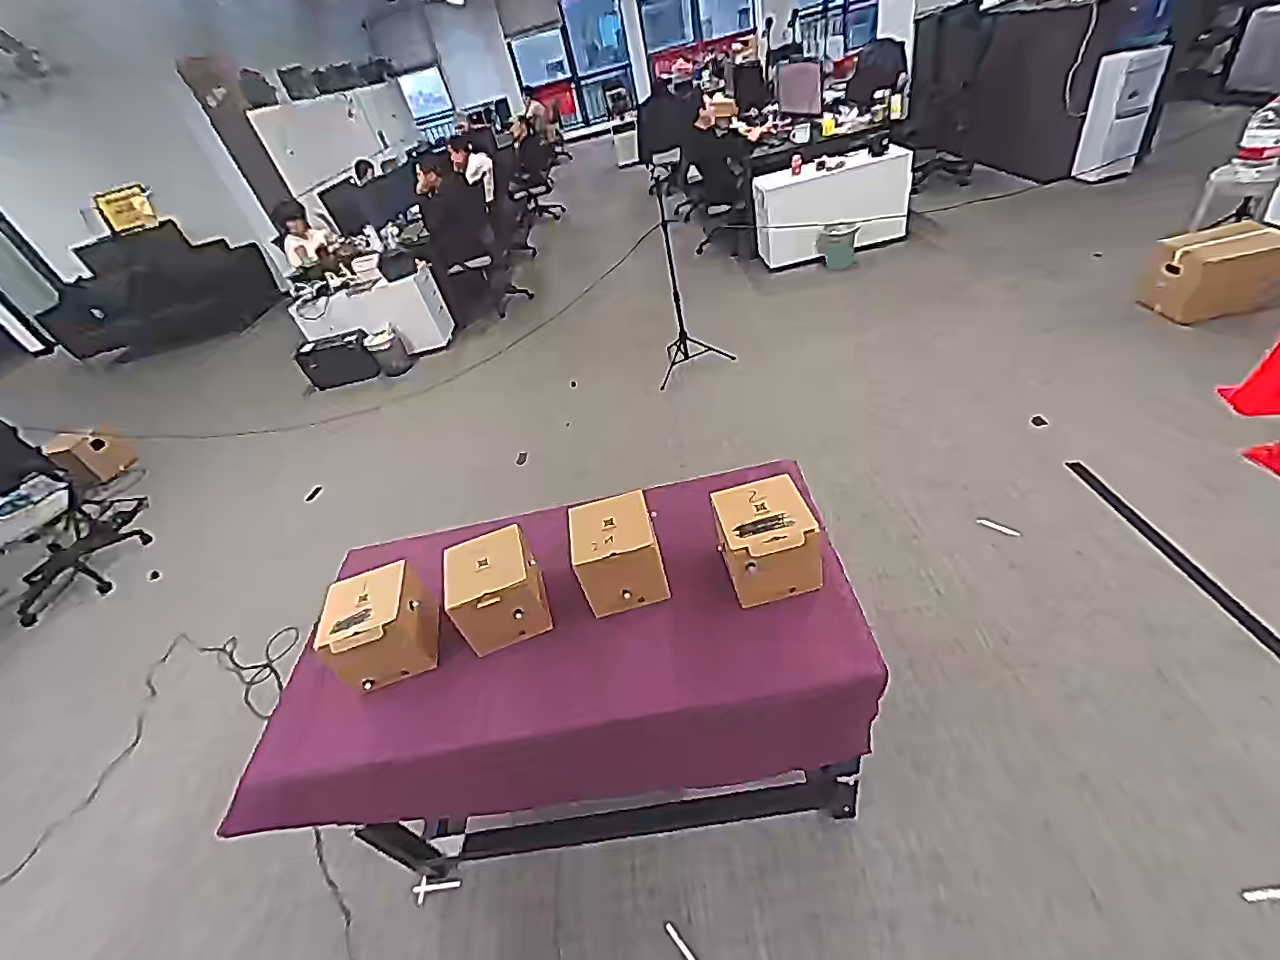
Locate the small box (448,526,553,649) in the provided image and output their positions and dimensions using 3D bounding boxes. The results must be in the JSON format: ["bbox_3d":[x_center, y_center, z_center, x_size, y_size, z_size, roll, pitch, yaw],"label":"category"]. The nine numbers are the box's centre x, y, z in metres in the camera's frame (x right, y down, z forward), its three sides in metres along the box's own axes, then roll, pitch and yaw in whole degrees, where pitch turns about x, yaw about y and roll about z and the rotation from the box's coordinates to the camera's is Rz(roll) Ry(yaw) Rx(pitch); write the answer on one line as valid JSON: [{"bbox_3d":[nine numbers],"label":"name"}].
[{"bbox_3d":[-0.295,0.235,1.153,0.168,0.176,0.179,-19,38,-5],"label":"small box"}]

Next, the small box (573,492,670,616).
[{"bbox_3d":[-0.041,0.158,1.155,0.168,0.176,0.179,-15,39,2],"label":"small box"}]

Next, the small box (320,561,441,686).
[{"bbox_3d":[-0.535,0.308,1.144,0.168,0.176,0.179,-19,38,-4],"label":"small box"}]
